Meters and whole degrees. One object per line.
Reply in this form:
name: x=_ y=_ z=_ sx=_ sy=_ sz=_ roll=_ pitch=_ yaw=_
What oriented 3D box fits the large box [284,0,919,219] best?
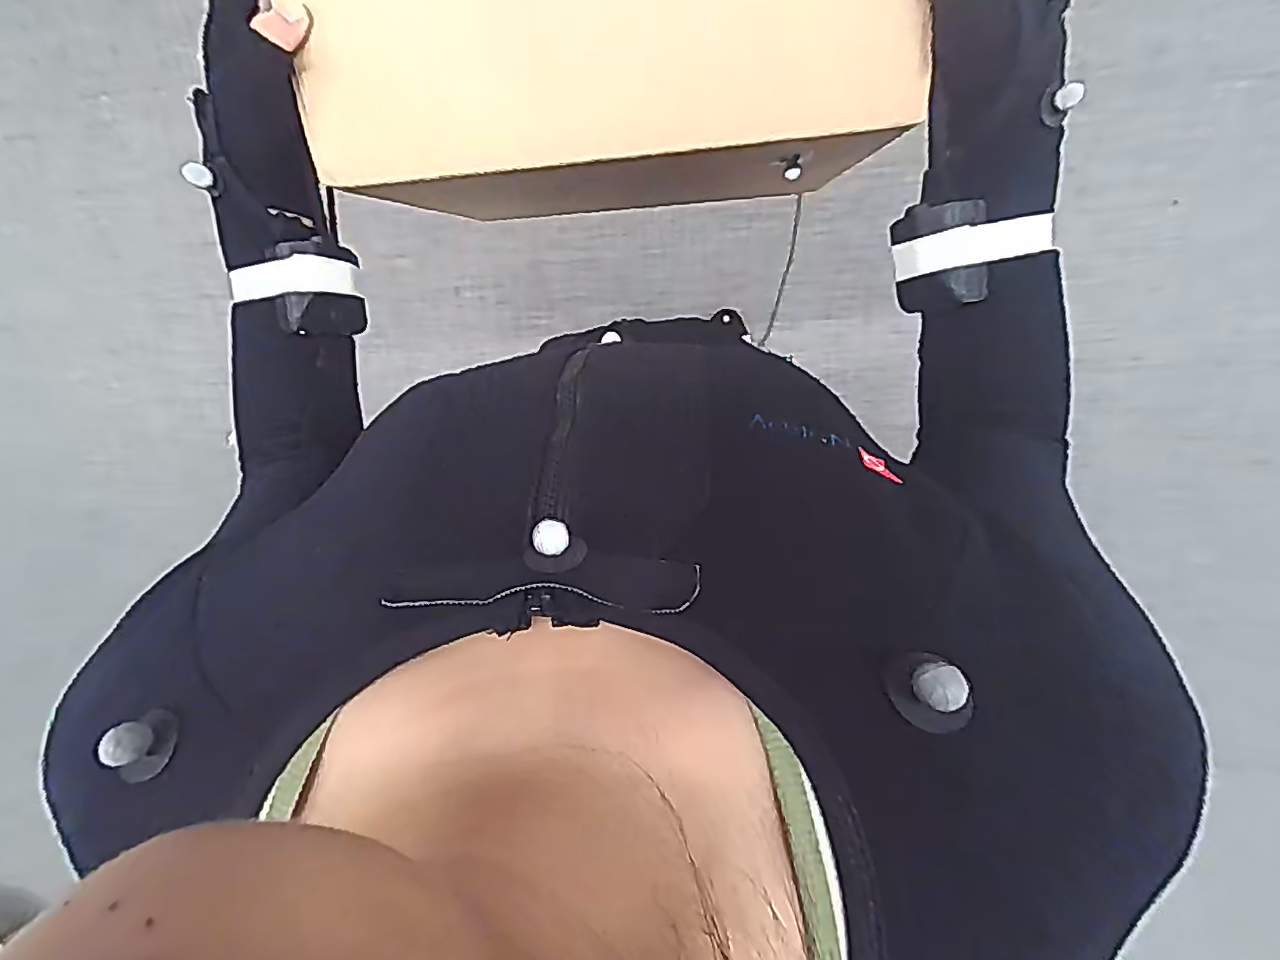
large box: x=-0.022 y=-0.414 z=0.453 sx=0.408 sy=0.320 sz=0.320 roll=-3 pitch=111 yaw=6
